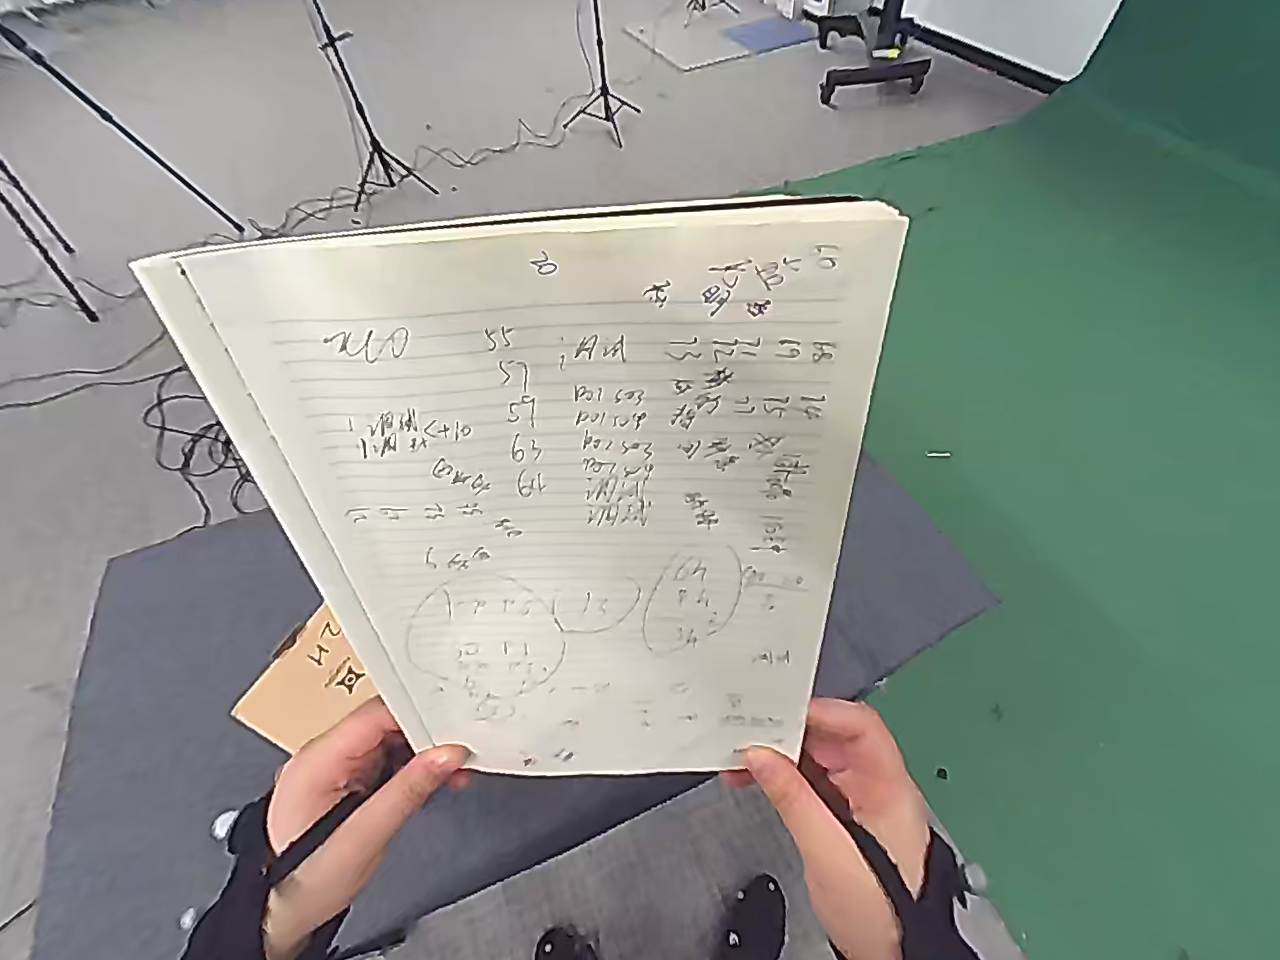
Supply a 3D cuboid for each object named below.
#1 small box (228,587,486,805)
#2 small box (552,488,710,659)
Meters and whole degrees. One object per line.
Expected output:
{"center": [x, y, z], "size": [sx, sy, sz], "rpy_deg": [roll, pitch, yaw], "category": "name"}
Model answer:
{"center": [-0.311, 0.259, 0.638], "size": [0.179, 0.176, 0.168], "rpy_deg": [19, 57, 17], "category": "small box"}
{"center": [0.000, 0.127, 0.711], "size": [0.179, 0.176, 0.168], "rpy_deg": [2, 54, 7], "category": "small box"}
